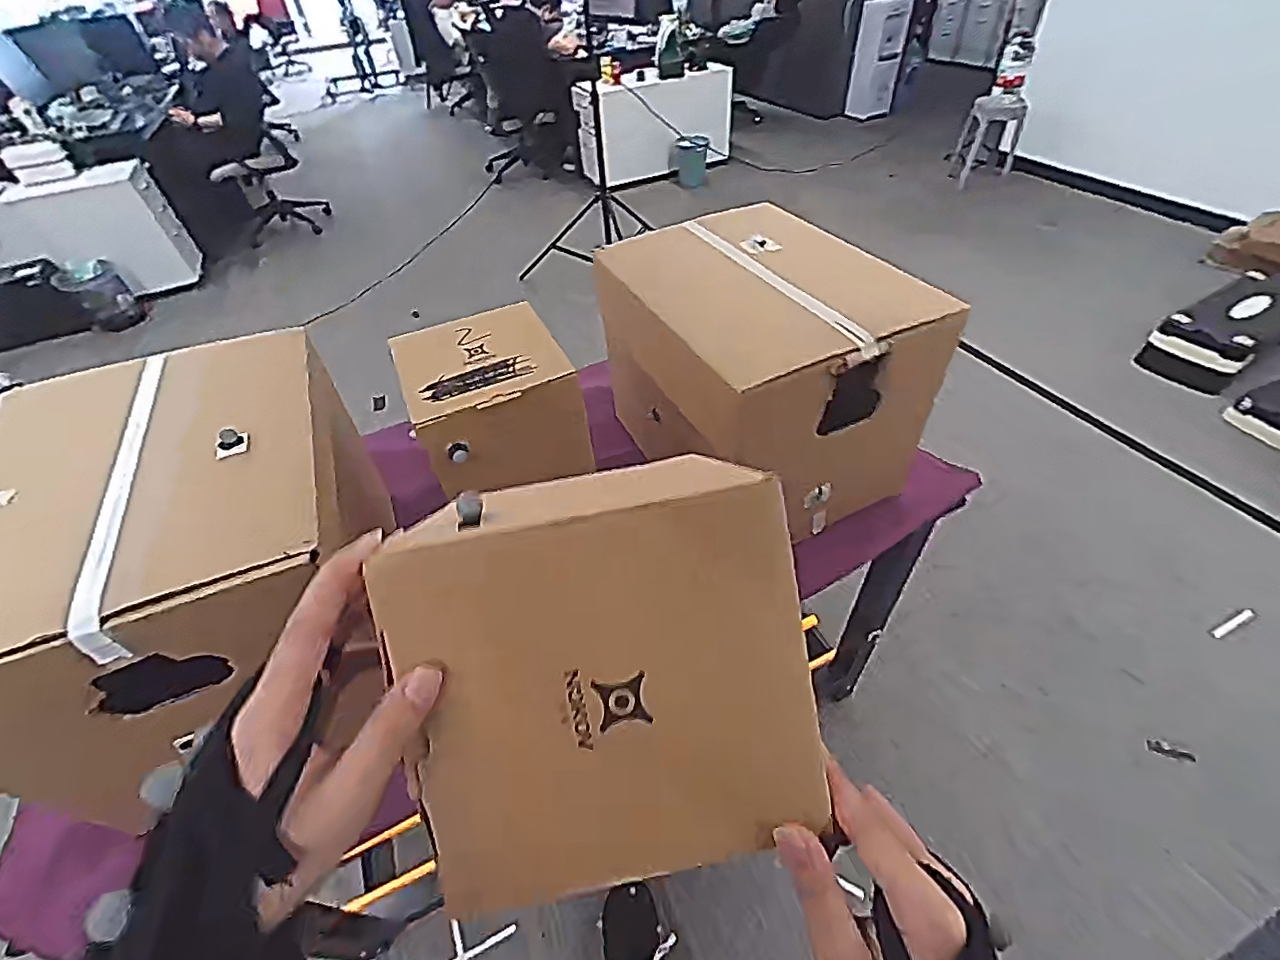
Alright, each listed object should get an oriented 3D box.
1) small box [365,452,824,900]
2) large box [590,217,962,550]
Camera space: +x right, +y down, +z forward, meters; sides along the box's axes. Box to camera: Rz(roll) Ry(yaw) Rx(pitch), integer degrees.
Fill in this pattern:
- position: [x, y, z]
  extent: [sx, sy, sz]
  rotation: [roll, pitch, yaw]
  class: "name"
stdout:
- position: [-0.020, 0.080, 0.311]
  extent: [0.179, 0.168, 0.176]
  rotation: [-11, 6, -3]
  class: "small box"
- position: [0.162, -0.144, 0.808]
  extent: [0.320, 0.320, 0.408]
  rotation: [-21, 46, -15]
  class: "large box"
